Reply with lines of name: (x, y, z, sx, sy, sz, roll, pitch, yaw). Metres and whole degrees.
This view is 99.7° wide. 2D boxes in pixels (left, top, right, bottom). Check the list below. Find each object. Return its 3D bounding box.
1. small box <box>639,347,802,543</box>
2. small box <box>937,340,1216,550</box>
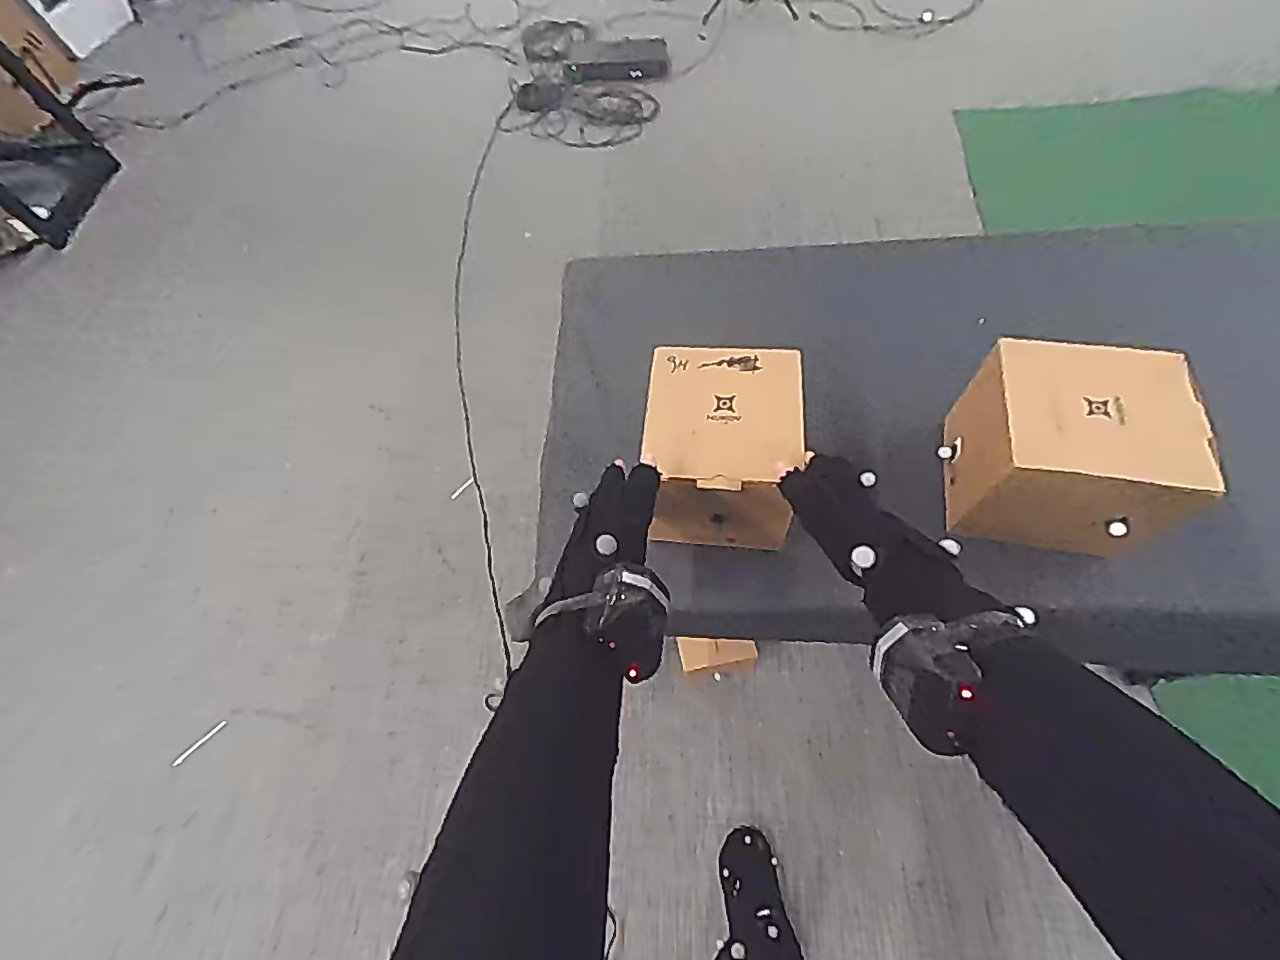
small box: (0.097, -0.035, 0.647, 0.168, 0.176, 0.179, 4, 62, 7)
small box: (0.463, -0.032, 0.610, 0.179, 0.176, 0.168, 7, 62, 10)
